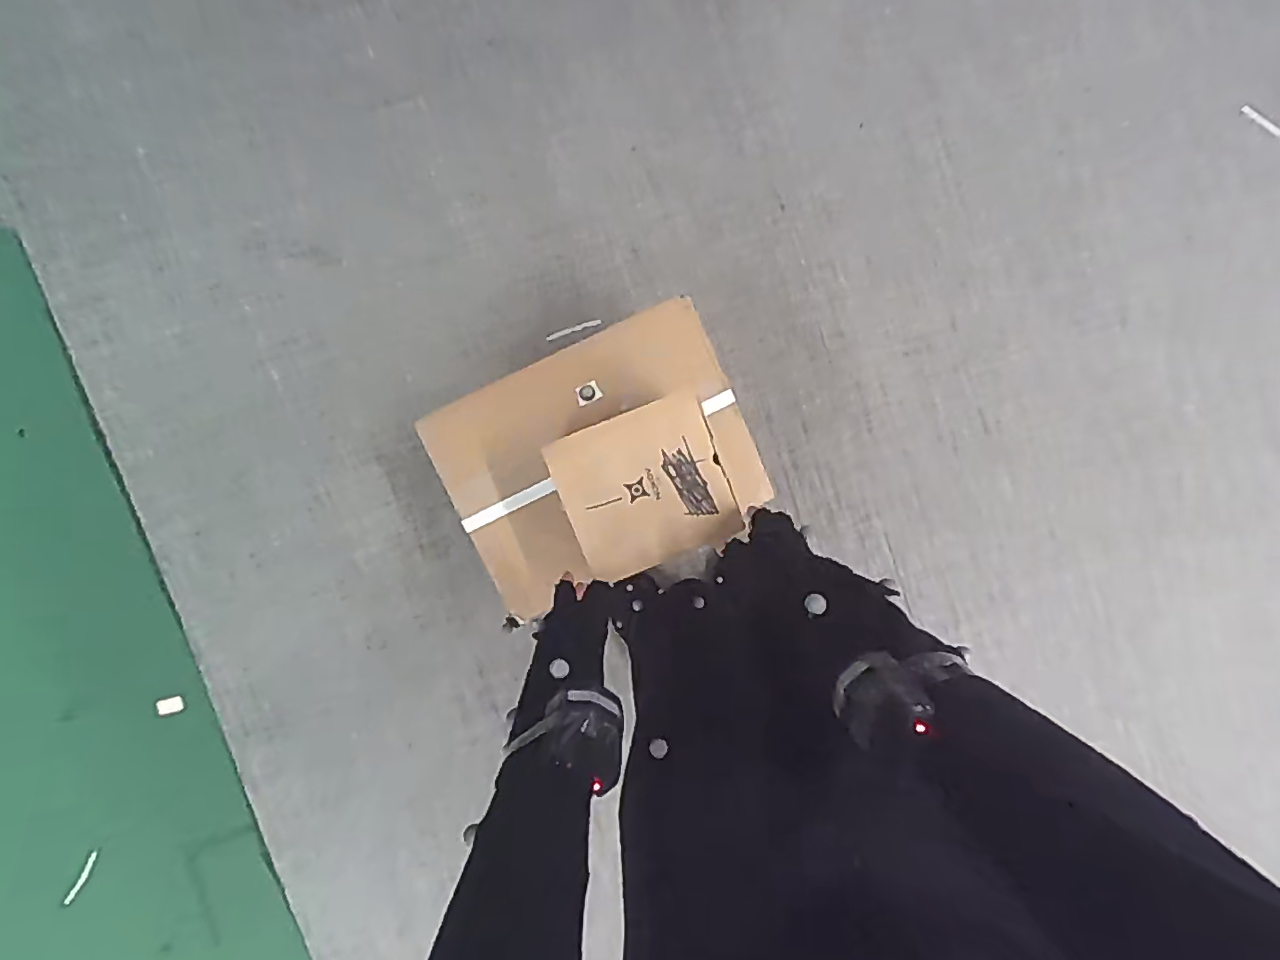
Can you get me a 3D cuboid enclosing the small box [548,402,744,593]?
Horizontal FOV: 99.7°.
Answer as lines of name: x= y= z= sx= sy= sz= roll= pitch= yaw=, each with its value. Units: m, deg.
small box: x=0.004 y=0.013 z=0.665 sx=0.179 sy=0.176 sz=0.168 roll=-21 pitch=94 yaw=-1
